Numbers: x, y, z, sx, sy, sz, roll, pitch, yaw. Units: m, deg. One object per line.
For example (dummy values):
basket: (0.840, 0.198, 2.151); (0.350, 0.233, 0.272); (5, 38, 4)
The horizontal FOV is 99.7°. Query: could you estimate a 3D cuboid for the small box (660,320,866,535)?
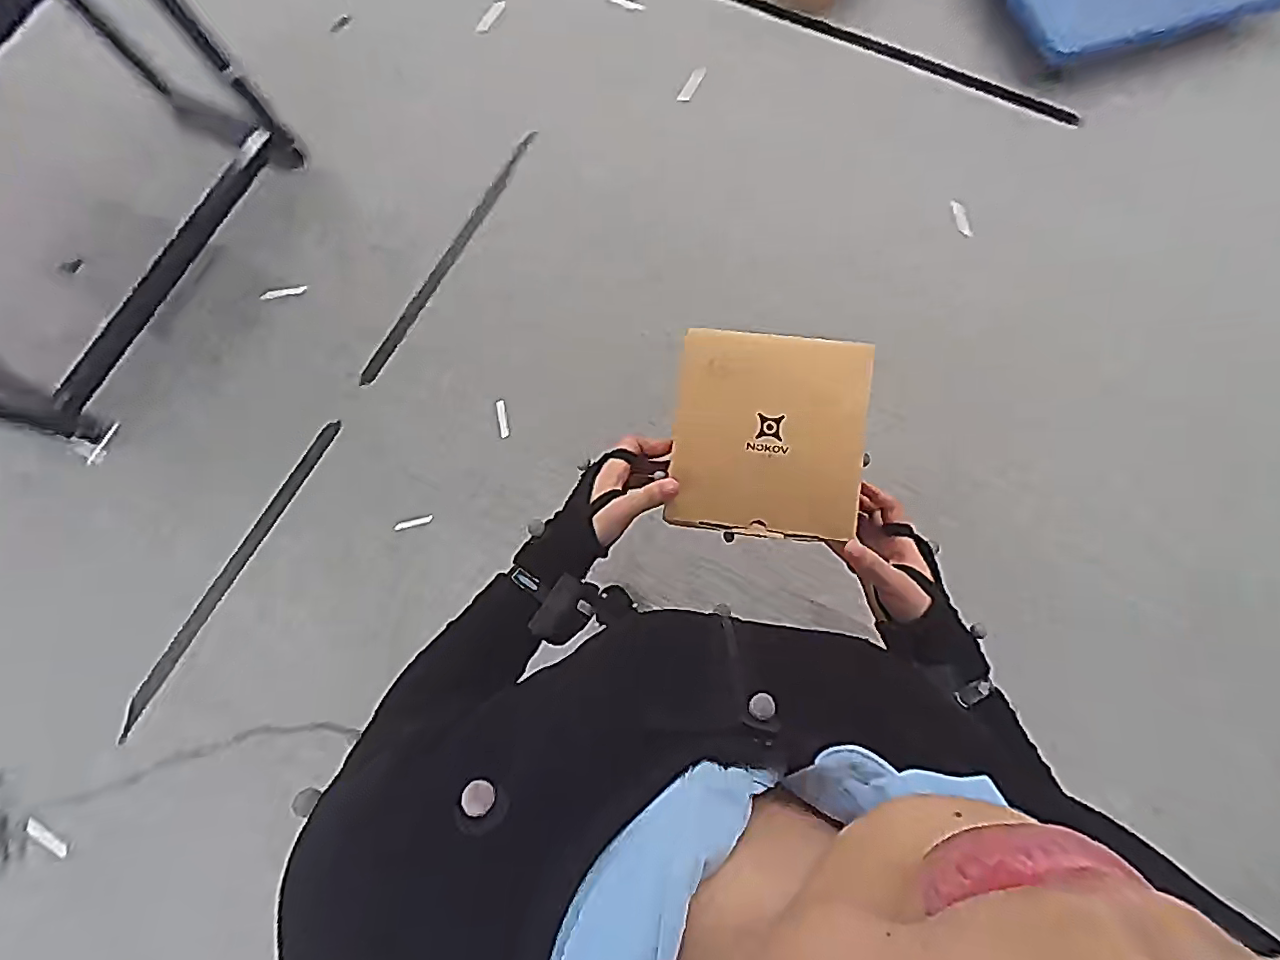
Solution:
small box: (0.110, -0.041, 0.542); (0.168, 0.176, 0.179); (5, 86, 4)
